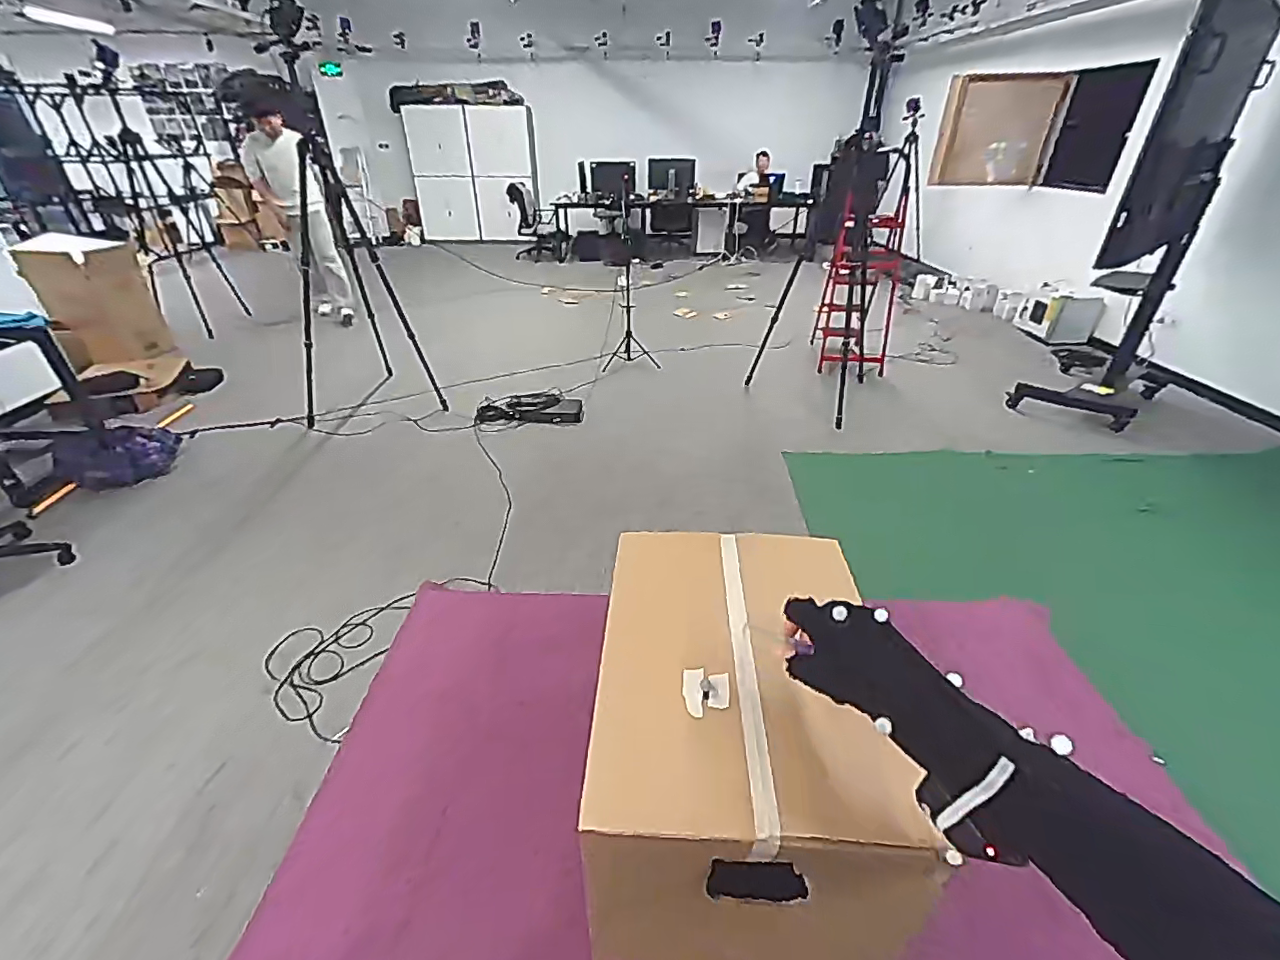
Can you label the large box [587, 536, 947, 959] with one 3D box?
[{"bbox_3d":[0.111,0.321,0.702,0.320,0.320,0.408,2,33,3],"label":"large box"}]
